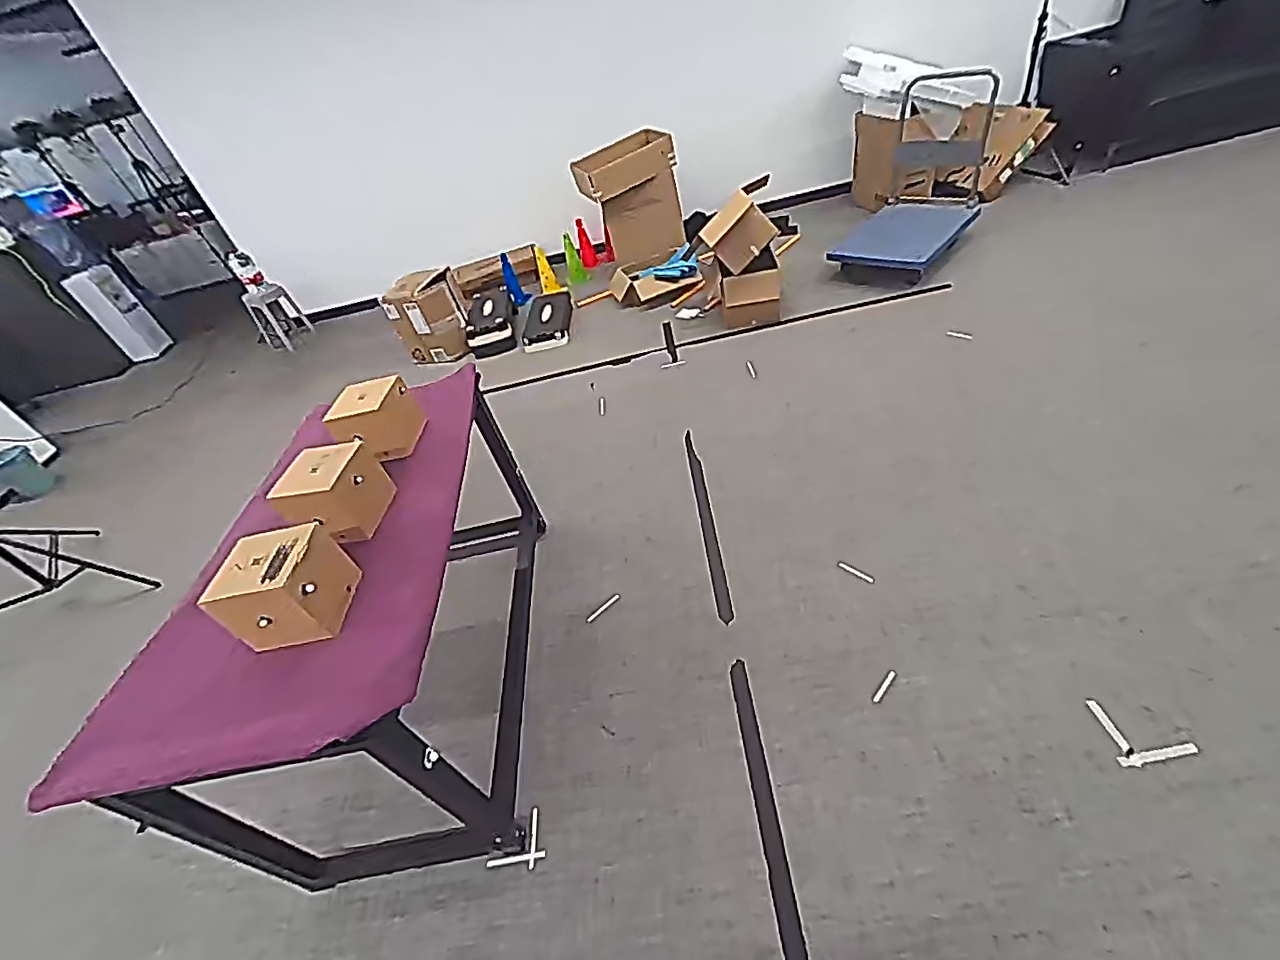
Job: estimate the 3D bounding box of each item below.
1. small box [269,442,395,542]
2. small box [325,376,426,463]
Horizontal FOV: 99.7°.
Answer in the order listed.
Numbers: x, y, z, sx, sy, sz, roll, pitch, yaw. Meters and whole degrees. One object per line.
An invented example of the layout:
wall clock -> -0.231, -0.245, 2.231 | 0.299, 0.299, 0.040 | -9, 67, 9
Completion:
small box -> -0.722, 0.034, 1.294 | 0.168, 0.176, 0.179 | -7, 41, 10
small box -> -0.732, -0.162, 1.521 | 0.168, 0.176, 0.179 | -11, 40, 8
